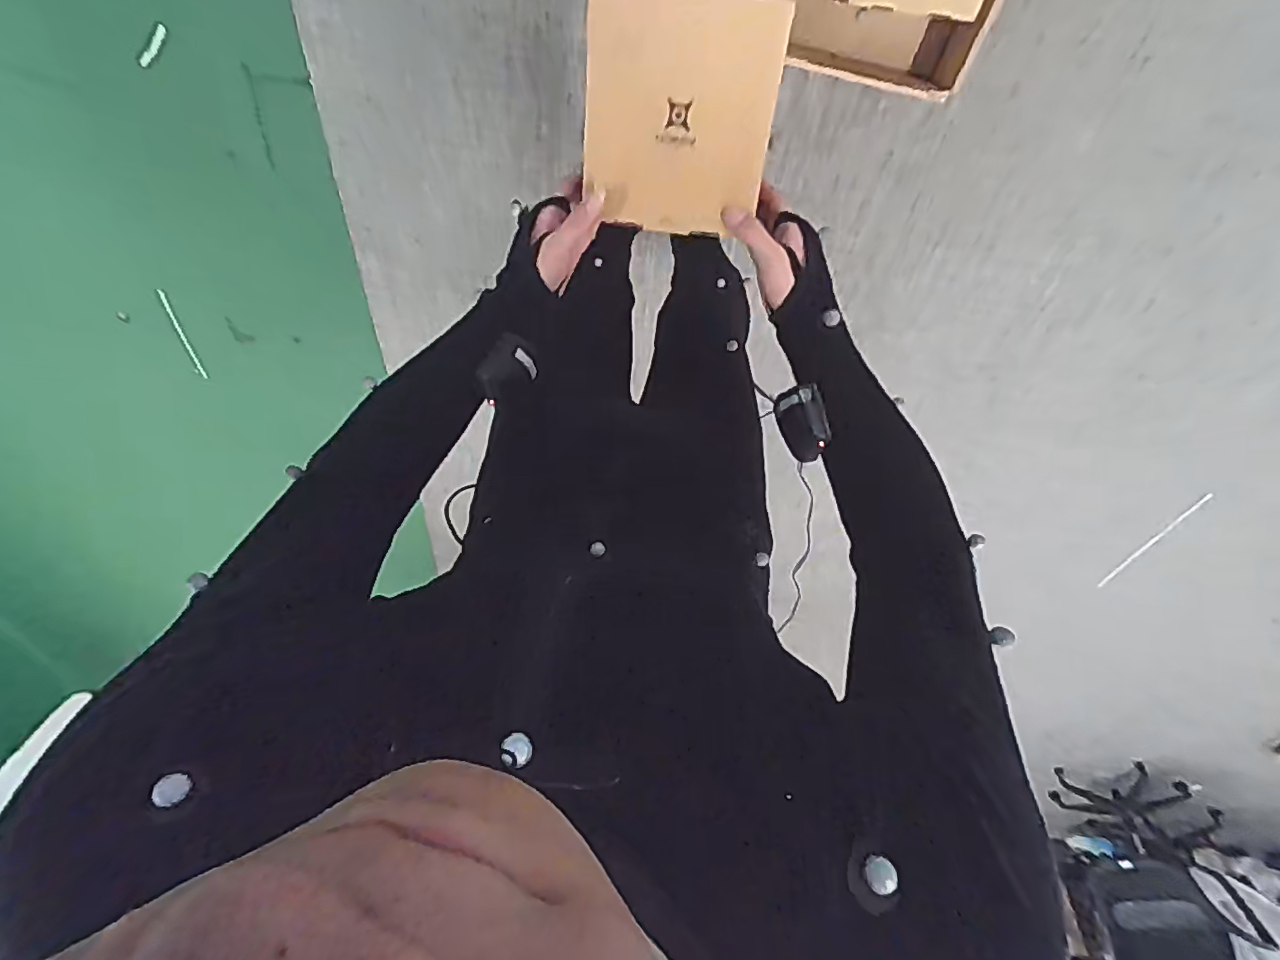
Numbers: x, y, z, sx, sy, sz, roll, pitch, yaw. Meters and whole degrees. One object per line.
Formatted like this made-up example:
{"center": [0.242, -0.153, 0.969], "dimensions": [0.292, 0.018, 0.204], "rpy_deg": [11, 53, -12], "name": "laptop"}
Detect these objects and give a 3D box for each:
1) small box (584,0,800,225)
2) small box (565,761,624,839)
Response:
{"center": [0.043, -0.366, 0.528], "dimensions": [0.168, 0.176, 0.179], "rpy_deg": [8, 124, 2], "name": "small box"}
{"center": [-0.146, 1.053, 1.779], "dimensions": [0.168, 0.176, 0.179], "rpy_deg": [8, 135, 2], "name": "small box"}
